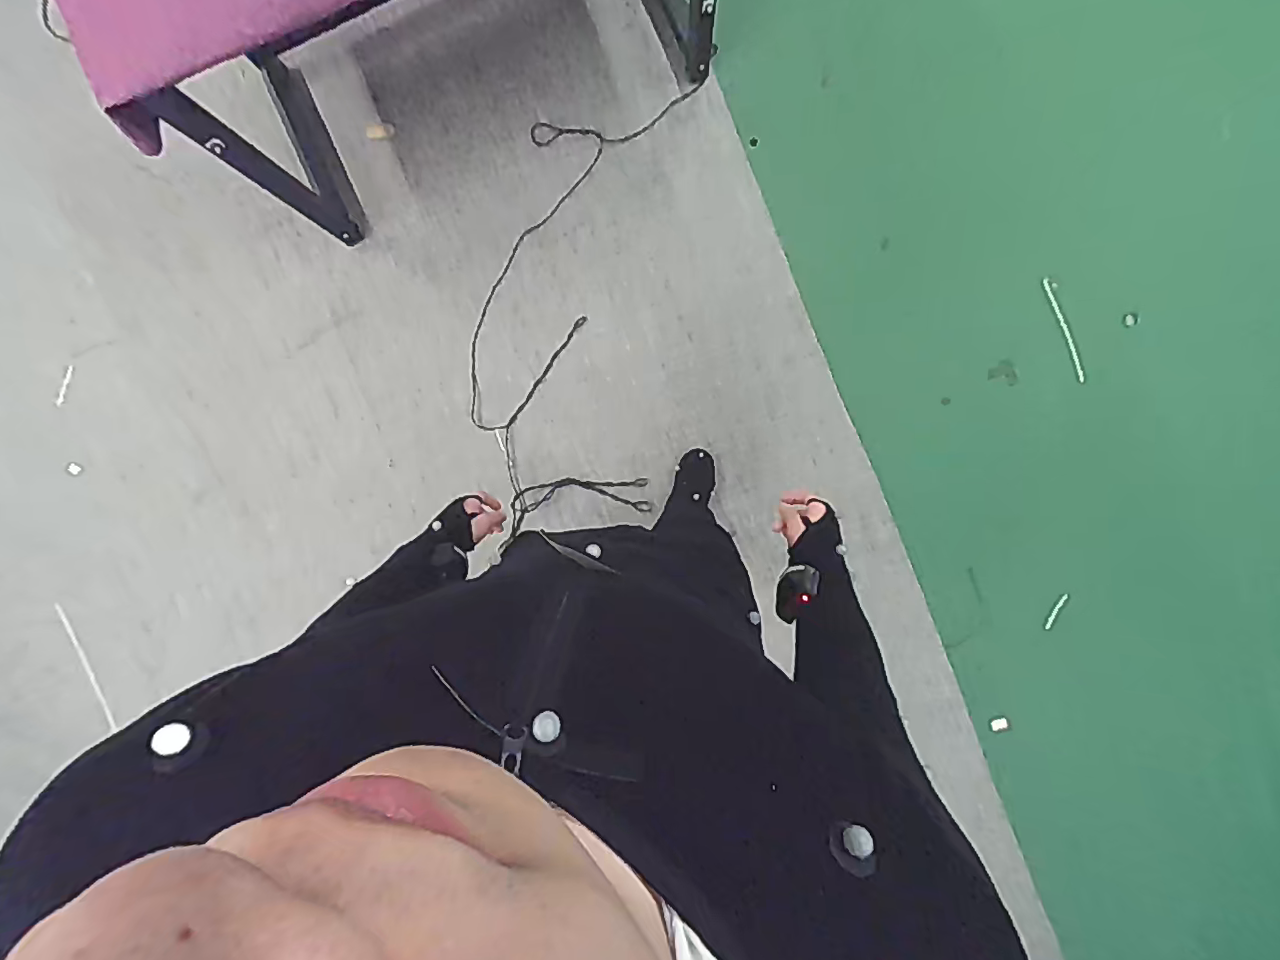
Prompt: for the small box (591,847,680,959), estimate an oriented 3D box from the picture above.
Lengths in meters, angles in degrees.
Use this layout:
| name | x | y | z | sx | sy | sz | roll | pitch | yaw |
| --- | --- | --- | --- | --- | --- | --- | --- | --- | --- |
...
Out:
| name | x | y | z | sx | sy | sz | roll | pitch | yaw |
| --- | --- | --- | --- | --- | --- | --- | --- | --- | --- |
| small box | -0.009 | 1.102 | 1.407 | 0.168 | 0.176 | 0.179 | -28 | 91 | 5 |
